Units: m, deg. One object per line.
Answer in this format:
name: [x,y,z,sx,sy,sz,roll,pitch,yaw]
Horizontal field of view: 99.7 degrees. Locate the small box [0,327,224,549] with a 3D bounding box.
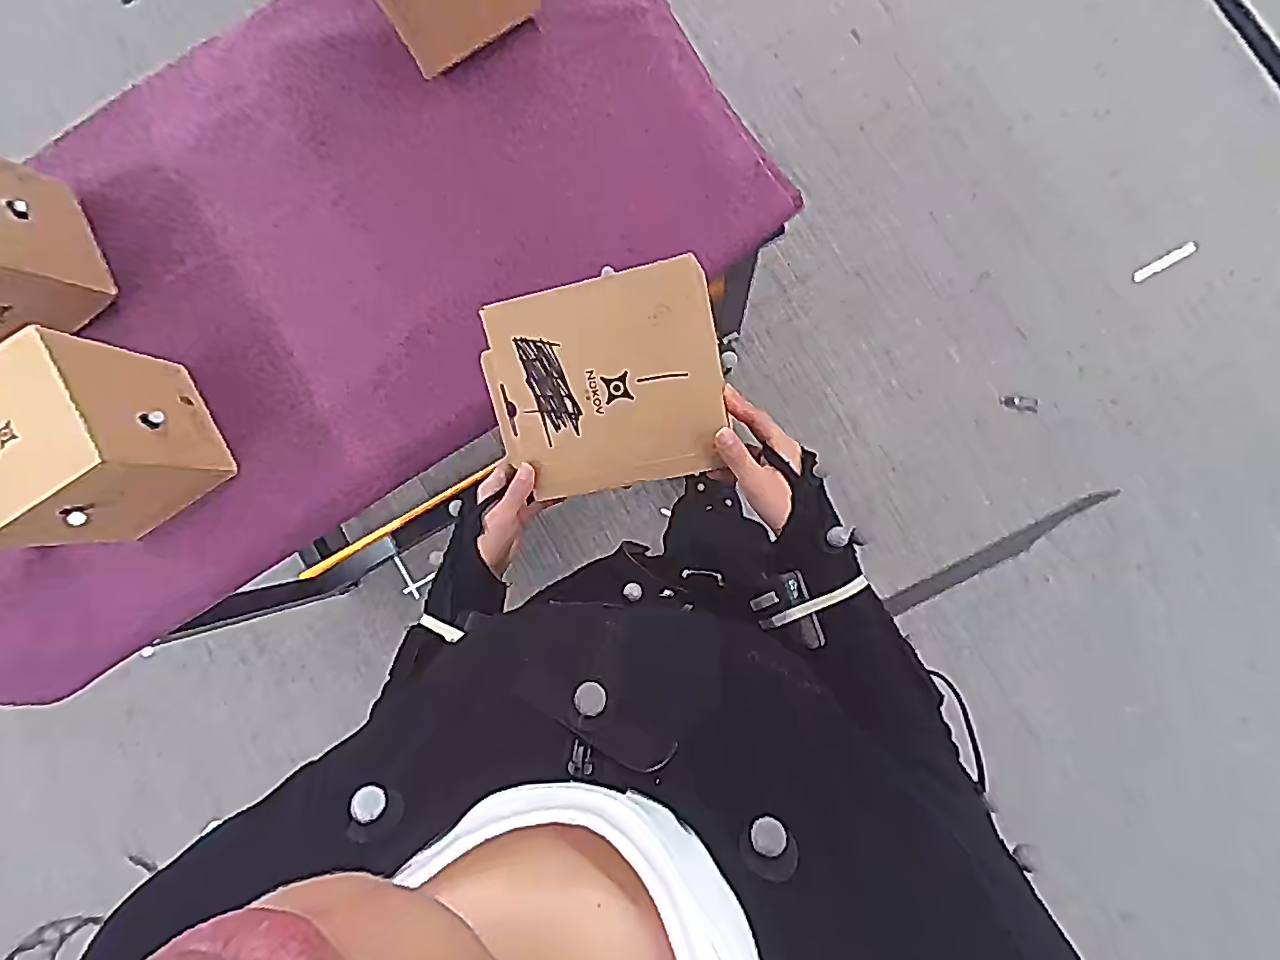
small box: [-0.628,-0.040,0.616,0.179,0.176,0.168,-32,85,4]

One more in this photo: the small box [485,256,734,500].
small box: [-0.011,-0.094,0.501,0.179,0.176,0.168,-10,105,12]

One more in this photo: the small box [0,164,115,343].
small box: [-0.786,-0.265,0.625,0.179,0.168,0.176,-27,85,11]
